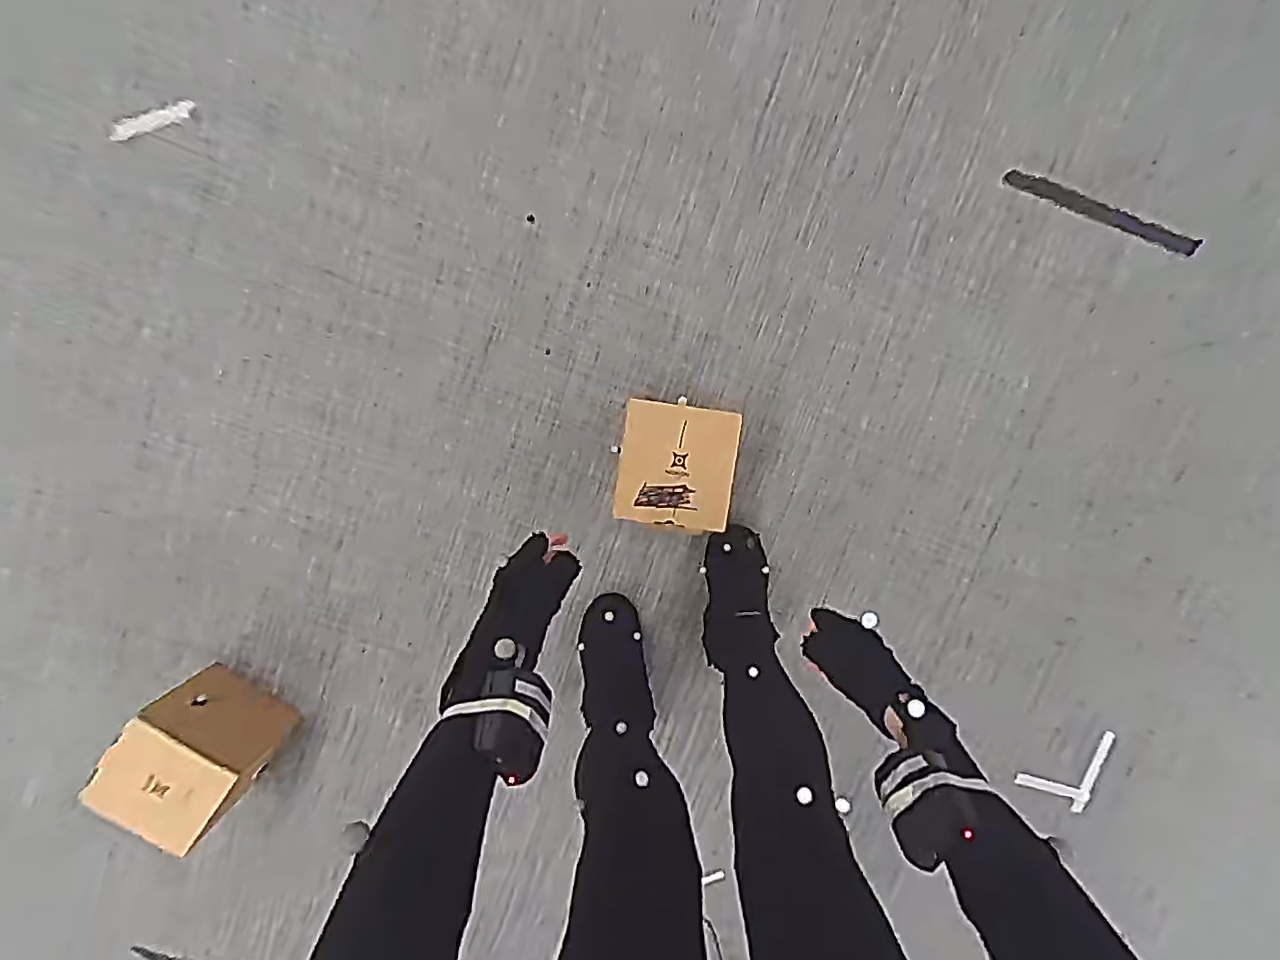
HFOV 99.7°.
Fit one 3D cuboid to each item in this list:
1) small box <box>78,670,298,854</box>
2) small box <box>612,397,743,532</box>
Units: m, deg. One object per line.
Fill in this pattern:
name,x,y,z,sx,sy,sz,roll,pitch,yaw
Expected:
small box,-0.709,0.436,0.871,0.179,0.176,0.168,35,95,-7
small box,0.051,-0.029,0.850,0.168,0.176,0.179,8,96,-3
